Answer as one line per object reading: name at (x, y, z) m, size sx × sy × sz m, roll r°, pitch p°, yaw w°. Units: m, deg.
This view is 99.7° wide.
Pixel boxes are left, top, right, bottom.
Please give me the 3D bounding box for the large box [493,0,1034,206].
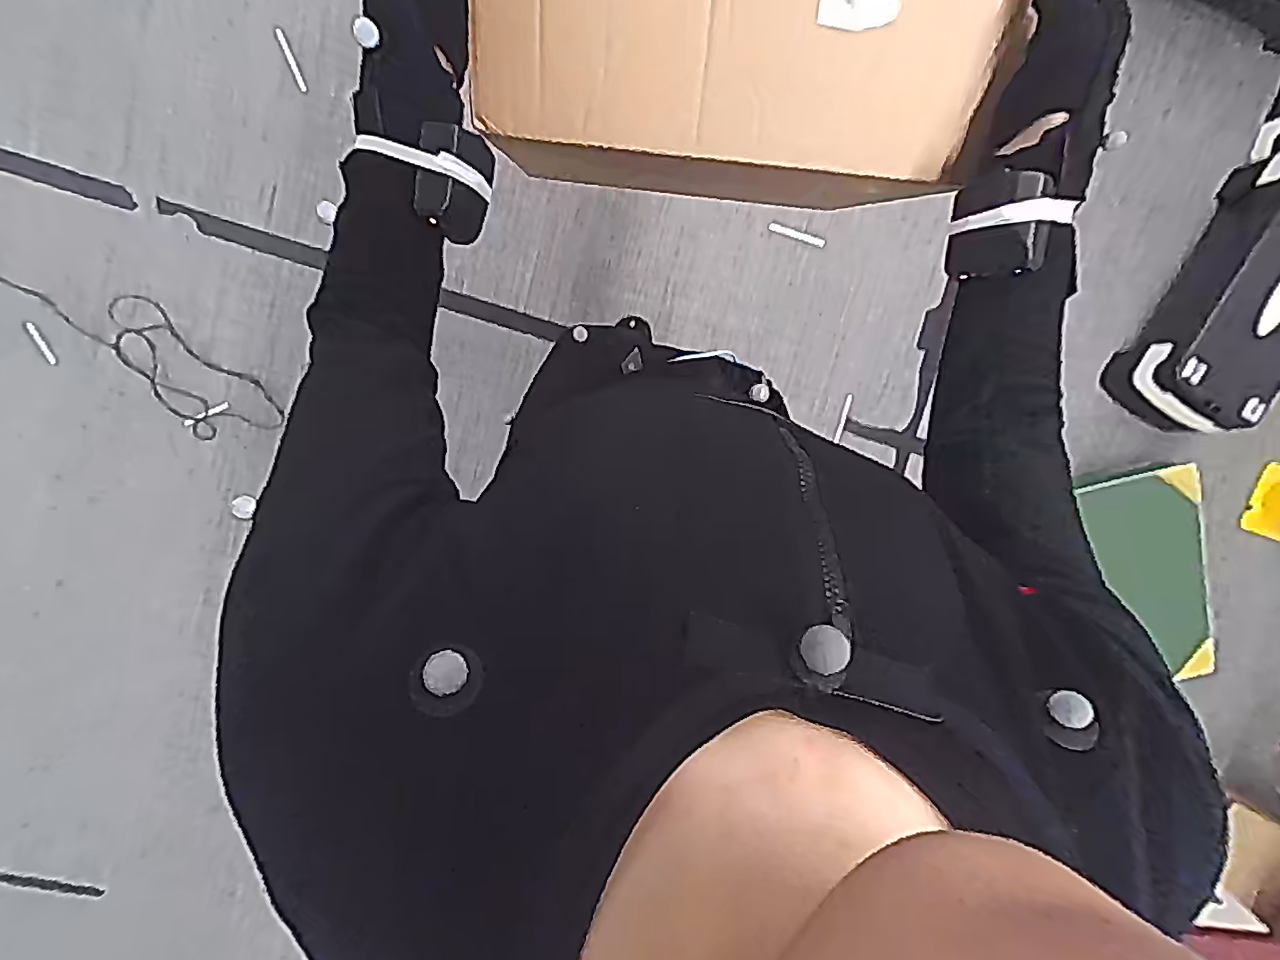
large box at (0.086, -0.454, 0.505) m, size 0.408 × 0.320 × 0.320 m, roll 3°, pitch 114°, yaw -7°
